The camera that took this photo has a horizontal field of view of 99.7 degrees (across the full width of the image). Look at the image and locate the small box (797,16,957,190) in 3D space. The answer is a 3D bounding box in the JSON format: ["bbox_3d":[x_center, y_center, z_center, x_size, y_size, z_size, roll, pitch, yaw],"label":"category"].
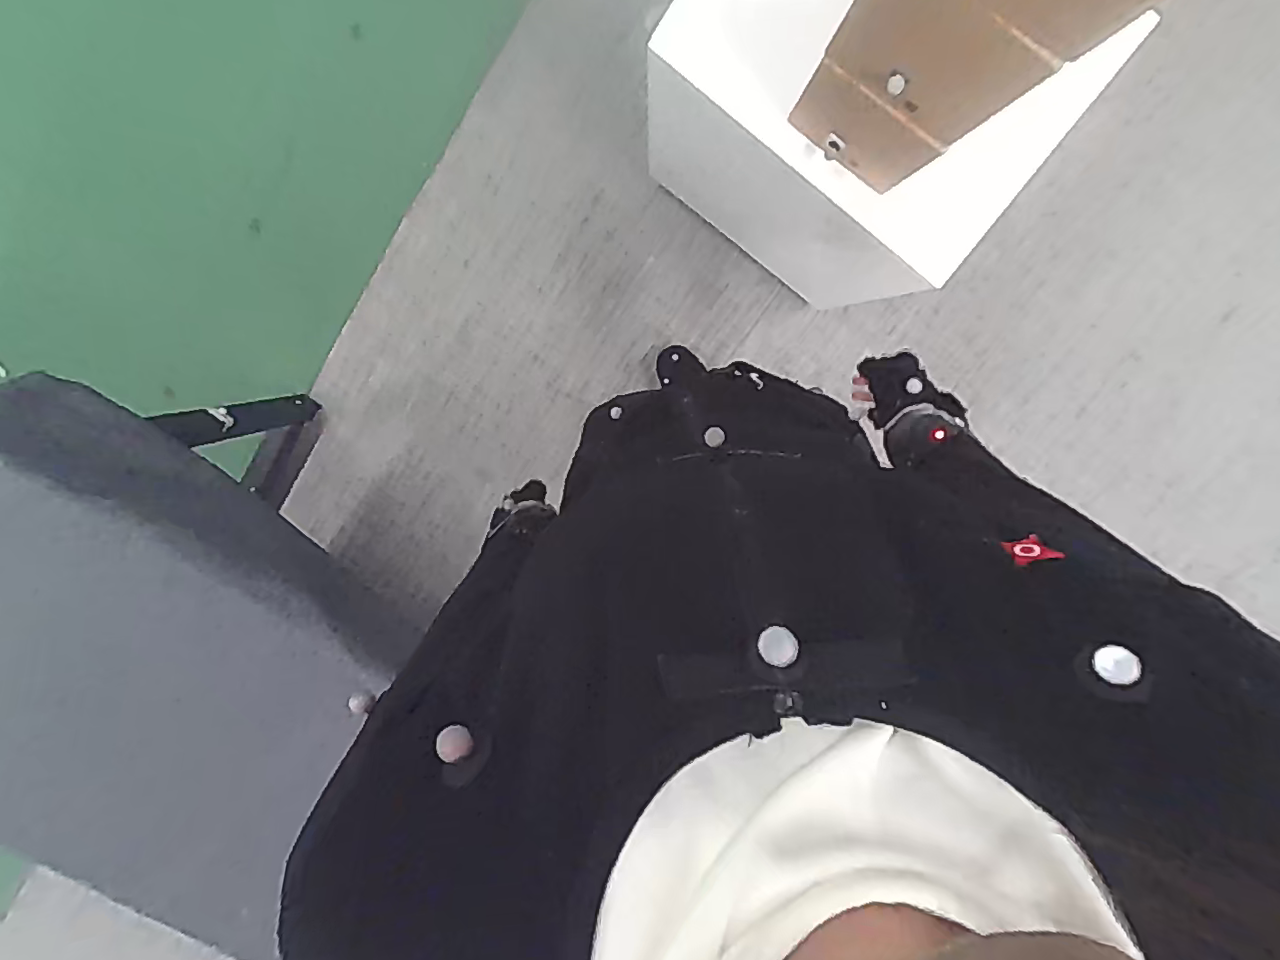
[{"bbox_3d":[0.303,-0.473,0.615,0.168,0.176,0.179,33,104,-5],"label":"small box"}]

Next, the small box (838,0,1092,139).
[{"bbox_3d":[0.298,-0.440,0.454,0.168,0.176,0.179,30,102,-5],"label":"small box"}]

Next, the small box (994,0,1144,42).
[{"bbox_3d":[0.283,-0.400,0.296,0.179,0.176,0.168,30,104,-4],"label":"small box"}]
